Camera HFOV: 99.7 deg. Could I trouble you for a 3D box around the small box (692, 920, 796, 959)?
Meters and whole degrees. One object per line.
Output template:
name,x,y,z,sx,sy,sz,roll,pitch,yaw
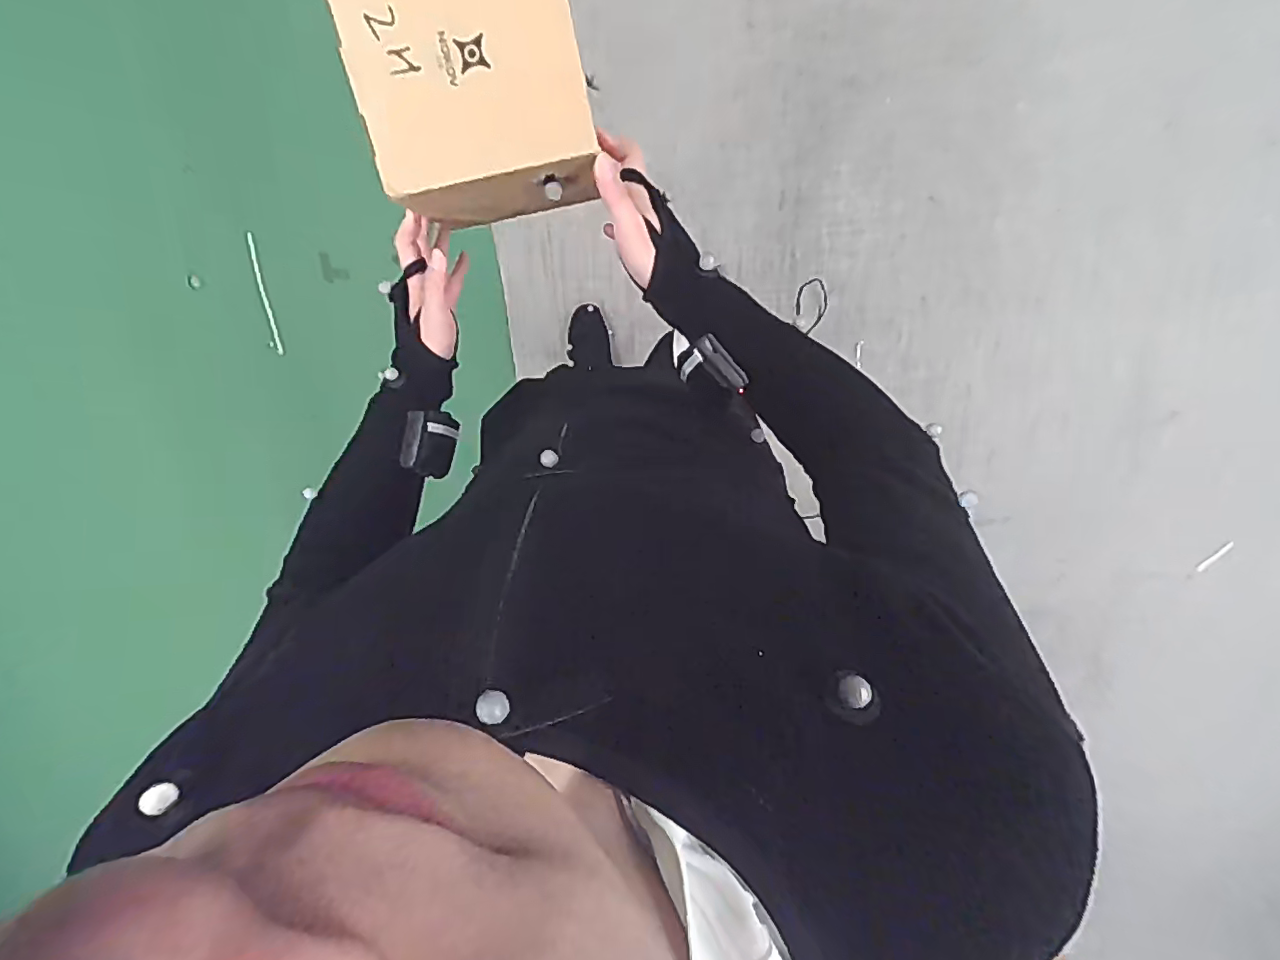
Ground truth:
small box,0.192,0.929,0.966,0.179,0.176,0.168,1,108,-1

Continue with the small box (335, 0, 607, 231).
small box,-0.128,-0.335,0.483,0.179,0.176,0.168,-10,106,3

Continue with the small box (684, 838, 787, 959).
small box,0.189,0.879,1.121,0.179,0.176,0.168,2,109,0
